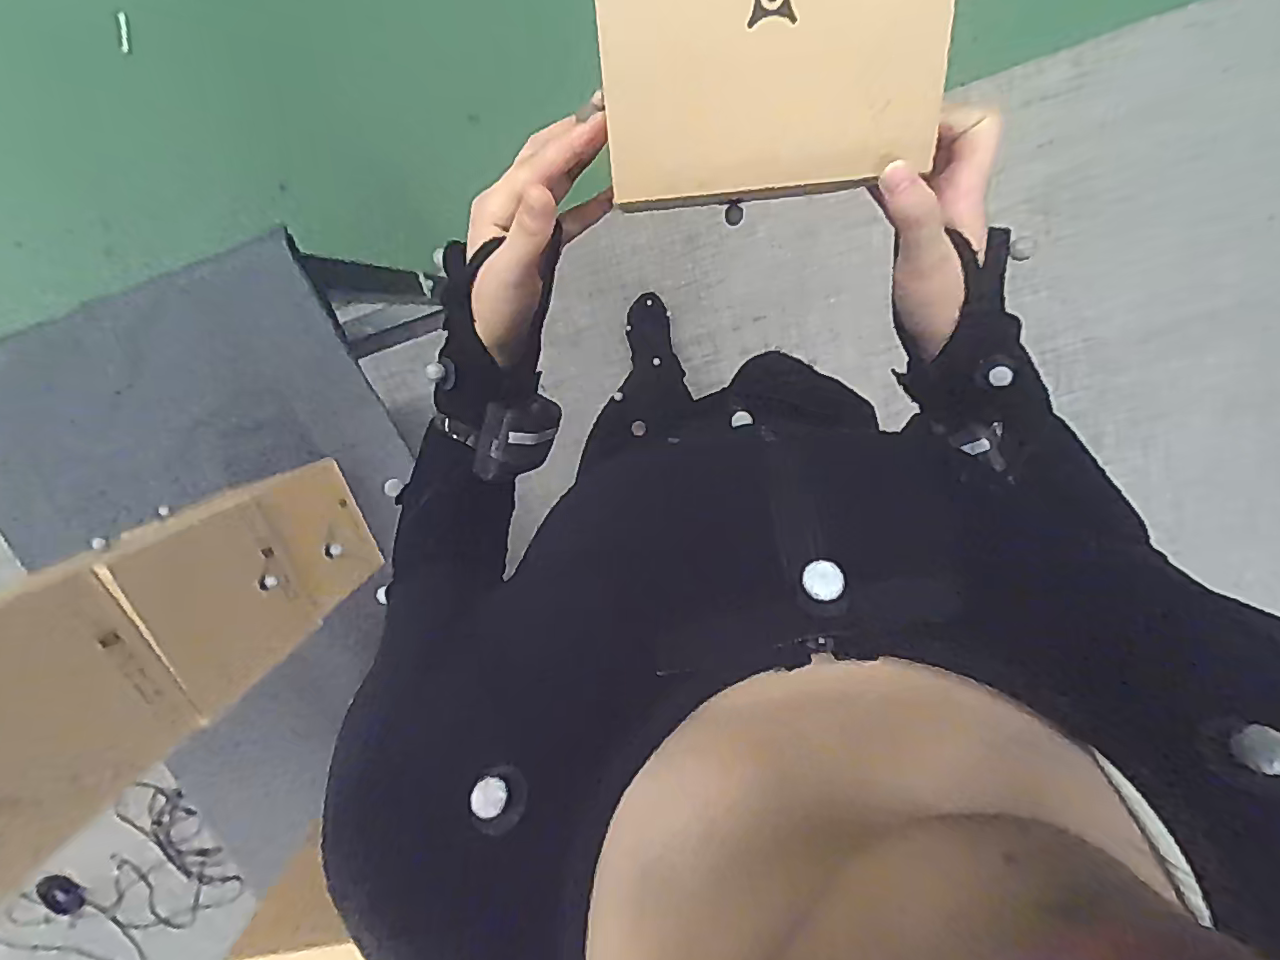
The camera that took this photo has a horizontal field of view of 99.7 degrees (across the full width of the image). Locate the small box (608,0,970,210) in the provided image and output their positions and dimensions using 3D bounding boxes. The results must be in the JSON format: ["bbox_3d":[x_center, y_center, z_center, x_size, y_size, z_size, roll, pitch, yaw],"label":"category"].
[{"bbox_3d":[0.066,-0.258,0.313,0.168,0.176,0.179,-5,115,0],"label":"small box"}]

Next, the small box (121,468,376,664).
[{"bbox_3d":[-0.471,0.099,0.690,0.179,0.176,0.168,-17,106,8],"label":"small box"}]

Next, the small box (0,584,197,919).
[{"bbox_3d":[-0.482,0.200,0.378,0.179,0.176,0.168,-20,106,9],"label":"small box"}]
